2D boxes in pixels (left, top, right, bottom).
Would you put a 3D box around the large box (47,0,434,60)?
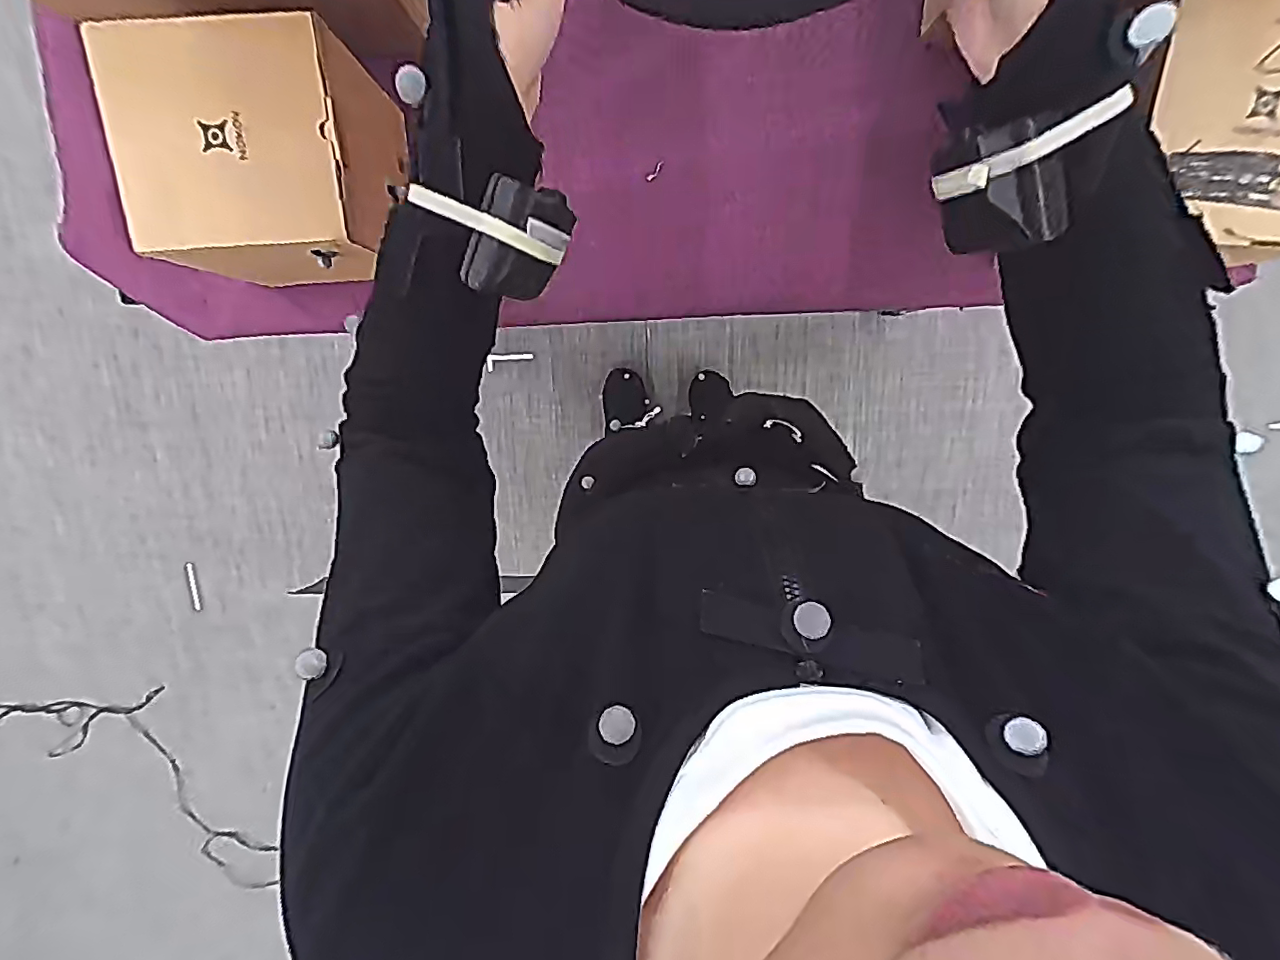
[{"bbox_3d":[-0.369,-0.596,0.370,0.320,0.320,0.408,-2,105,1],"label":"large box"}]
